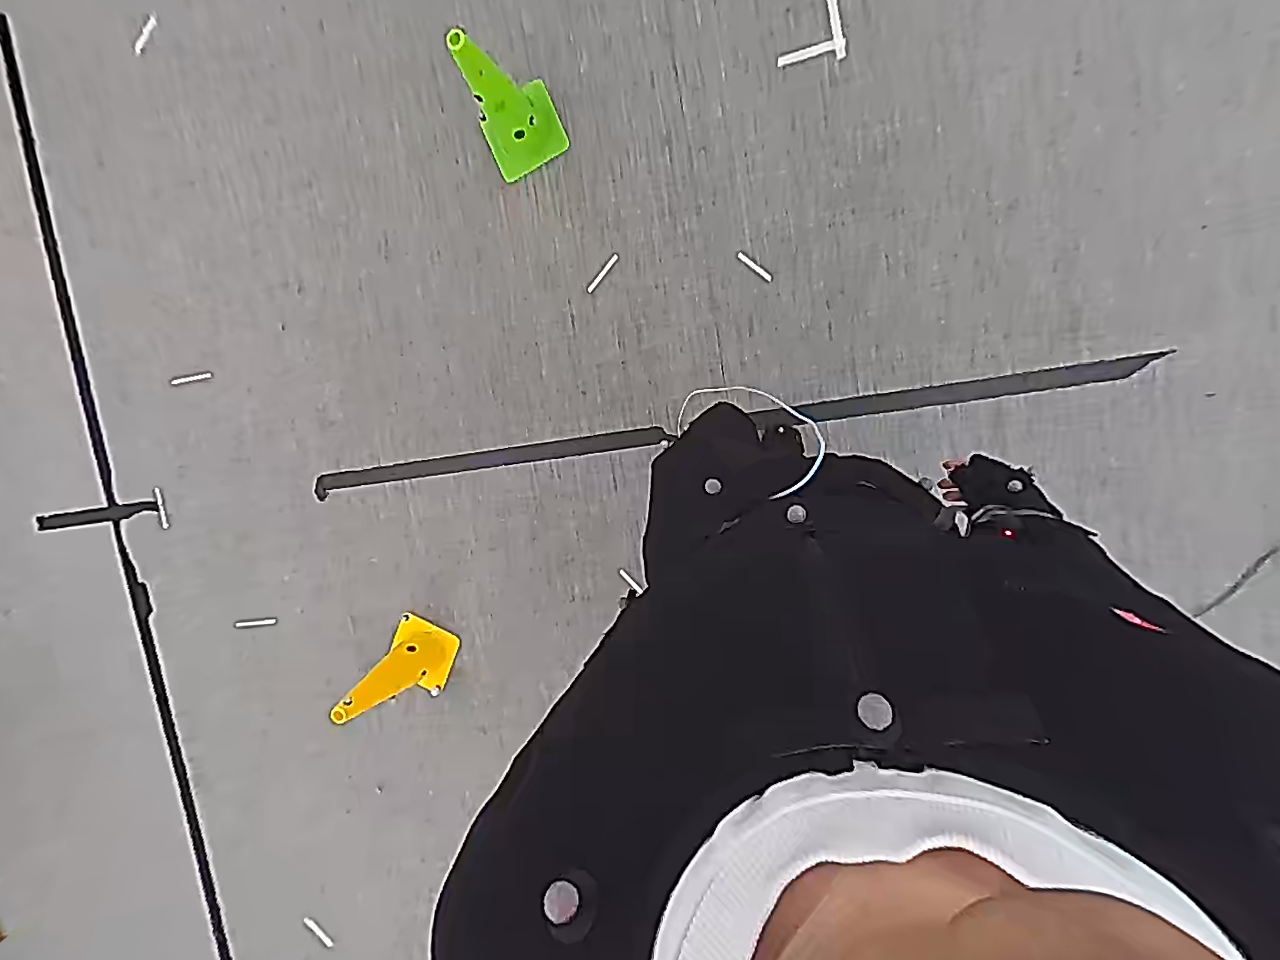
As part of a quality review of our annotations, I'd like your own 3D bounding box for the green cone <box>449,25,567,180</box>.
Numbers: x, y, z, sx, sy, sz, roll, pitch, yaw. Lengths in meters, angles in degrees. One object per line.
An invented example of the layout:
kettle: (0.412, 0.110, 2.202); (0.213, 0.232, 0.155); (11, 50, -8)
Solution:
green cone: (-0.340, -0.906, 1.261); (0.202, 0.368, 0.200); (-24, 91, 11)
